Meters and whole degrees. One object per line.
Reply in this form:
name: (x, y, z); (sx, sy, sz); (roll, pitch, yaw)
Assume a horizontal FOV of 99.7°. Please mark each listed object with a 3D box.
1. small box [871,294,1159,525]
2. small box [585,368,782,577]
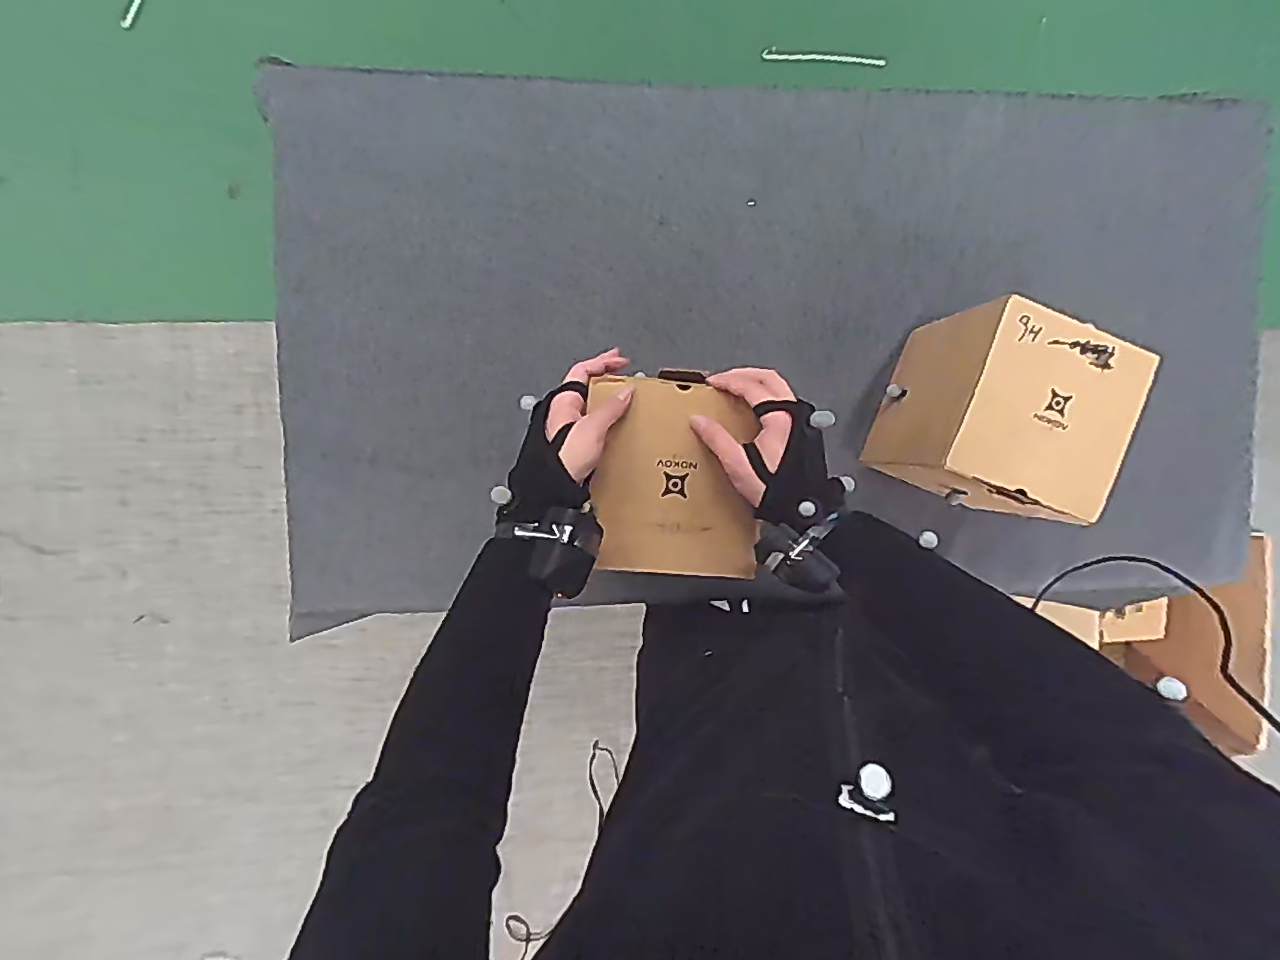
small box: (0.385, -0.071, 0.593); (0.168, 0.176, 0.179); (22, 93, -5)
small box: (0.034, -0.009, 0.556); (0.168, 0.176, 0.179); (4, 94, -3)
